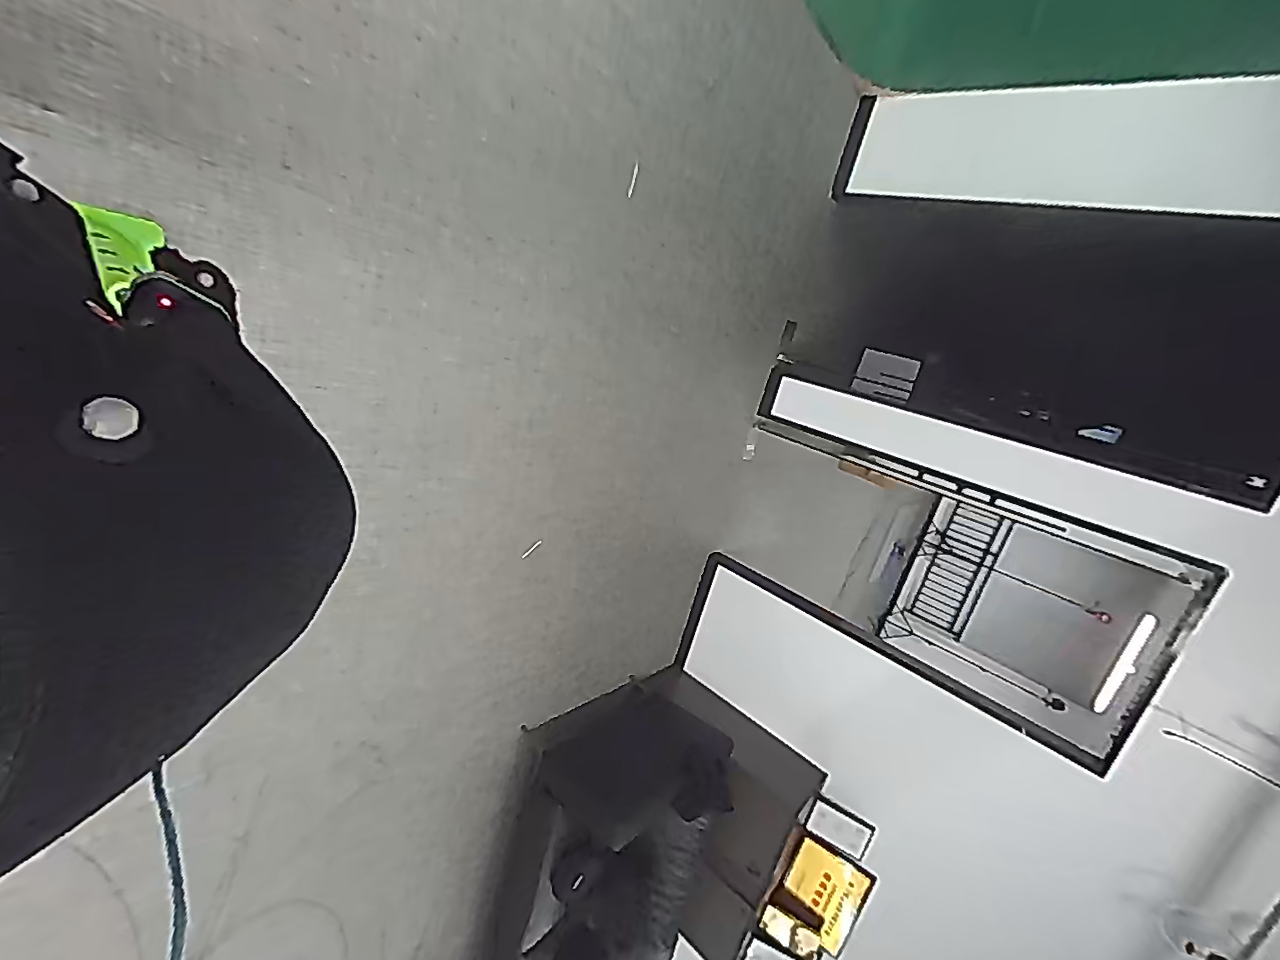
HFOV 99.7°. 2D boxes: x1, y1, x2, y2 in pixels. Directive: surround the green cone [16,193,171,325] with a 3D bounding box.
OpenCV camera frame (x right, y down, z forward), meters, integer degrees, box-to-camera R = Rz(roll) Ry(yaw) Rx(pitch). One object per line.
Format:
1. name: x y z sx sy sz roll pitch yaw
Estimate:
1. green cone: -0.893 -0.343 0.912 0.202 0.368 0.200 -4 114 -49
